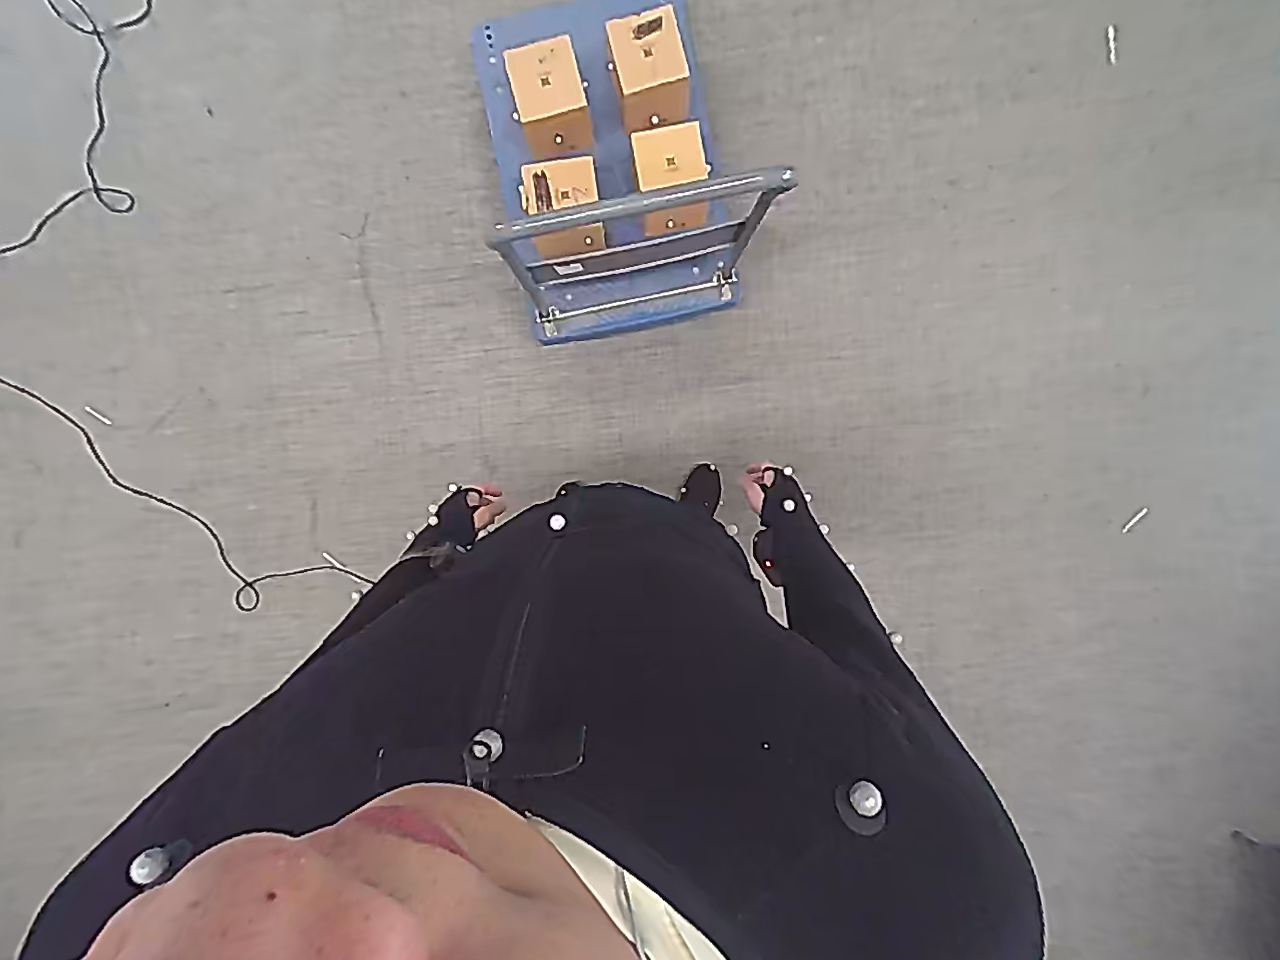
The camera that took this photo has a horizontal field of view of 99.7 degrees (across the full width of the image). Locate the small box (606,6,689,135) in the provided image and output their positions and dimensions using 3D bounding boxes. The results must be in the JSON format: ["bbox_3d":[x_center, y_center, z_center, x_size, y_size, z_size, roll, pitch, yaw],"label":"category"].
[{"bbox_3d":[0.016,-1.015,1.353,0.168,0.176,0.179,-15,93,2],"label":"small box"}]

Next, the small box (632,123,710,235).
[{"bbox_3d":[0.072,-0.750,1.362,0.168,0.176,0.179,-11,92,0],"label":"small box"}]

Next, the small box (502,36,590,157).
[{"bbox_3d":[-0.227,-0.947,1.357,0.168,0.176,0.179,-15,91,0],"label":"small box"}]
